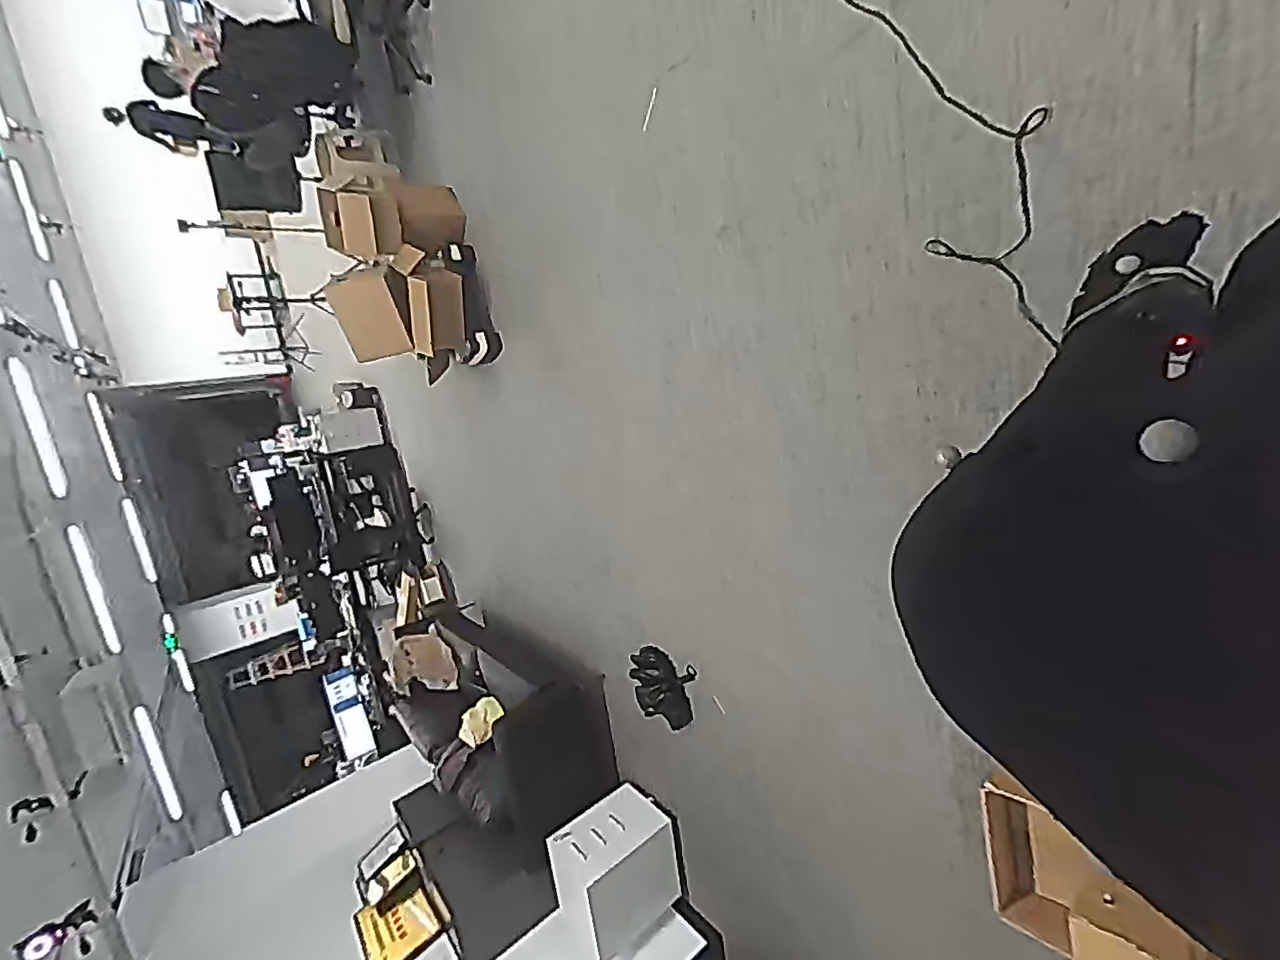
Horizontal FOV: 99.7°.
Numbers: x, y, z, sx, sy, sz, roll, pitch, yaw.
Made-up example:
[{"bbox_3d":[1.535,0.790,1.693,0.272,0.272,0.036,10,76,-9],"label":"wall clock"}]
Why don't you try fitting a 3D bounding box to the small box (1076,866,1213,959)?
[{"bbox_3d":[0.997,0.922,1.066,0.168,0.176,0.179,-6,98,55],"label":"small box"}]
